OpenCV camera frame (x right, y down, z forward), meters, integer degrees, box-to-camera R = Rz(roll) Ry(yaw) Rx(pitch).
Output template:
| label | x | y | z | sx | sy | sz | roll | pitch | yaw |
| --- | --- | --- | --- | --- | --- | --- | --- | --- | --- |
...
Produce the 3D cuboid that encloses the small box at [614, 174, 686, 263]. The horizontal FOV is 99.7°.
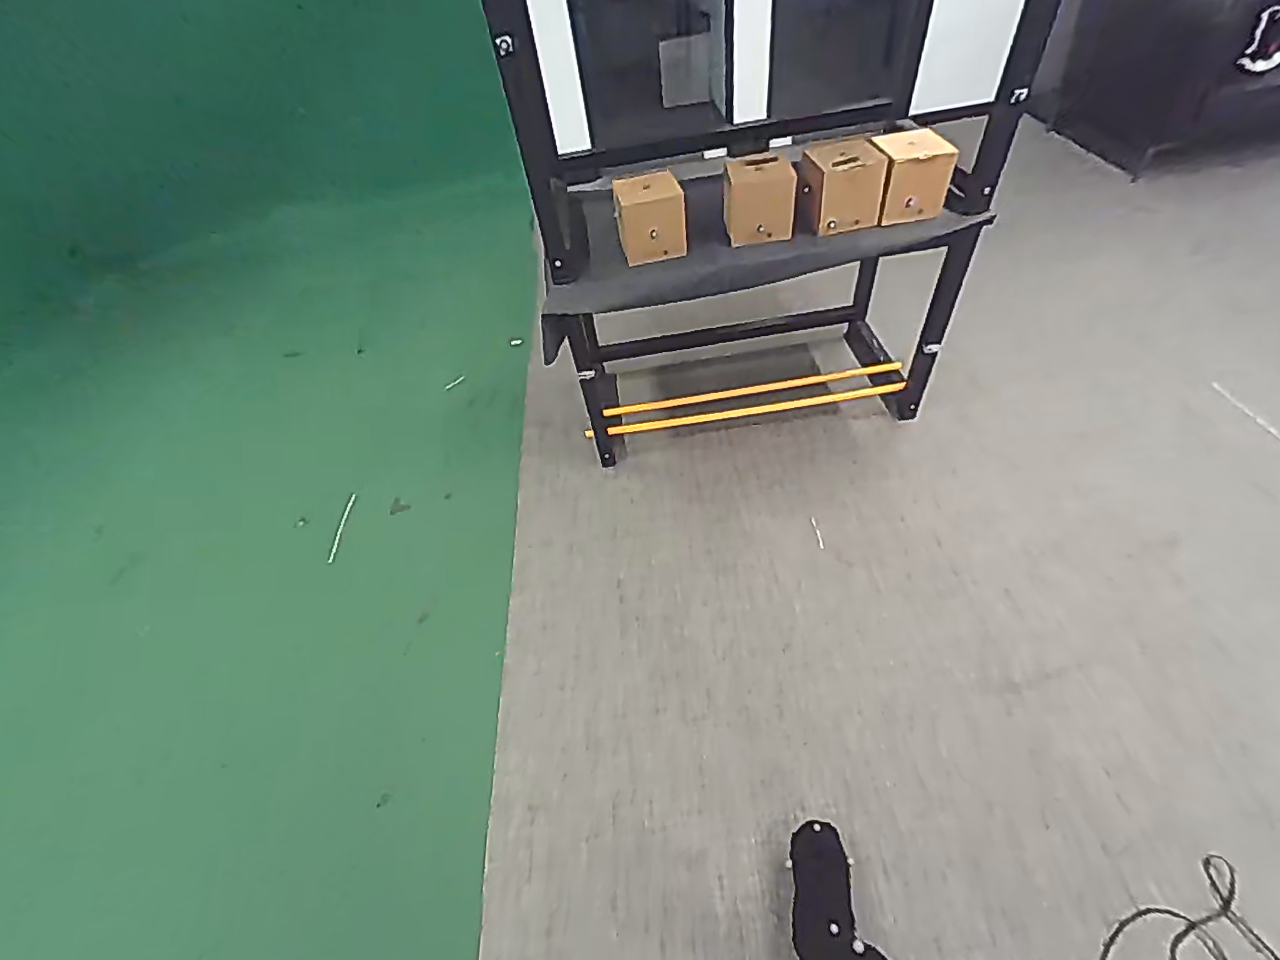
| label | x | y | z | sx | sy | sz | roll | pitch | yaw |
| --- | --- | --- | --- | --- | --- | --- | --- | --- | --- |
| small box | 0.030 | -0.718 | 1.500 | 0.168 | 0.176 | 0.179 | -12 | 47 | -2 |
